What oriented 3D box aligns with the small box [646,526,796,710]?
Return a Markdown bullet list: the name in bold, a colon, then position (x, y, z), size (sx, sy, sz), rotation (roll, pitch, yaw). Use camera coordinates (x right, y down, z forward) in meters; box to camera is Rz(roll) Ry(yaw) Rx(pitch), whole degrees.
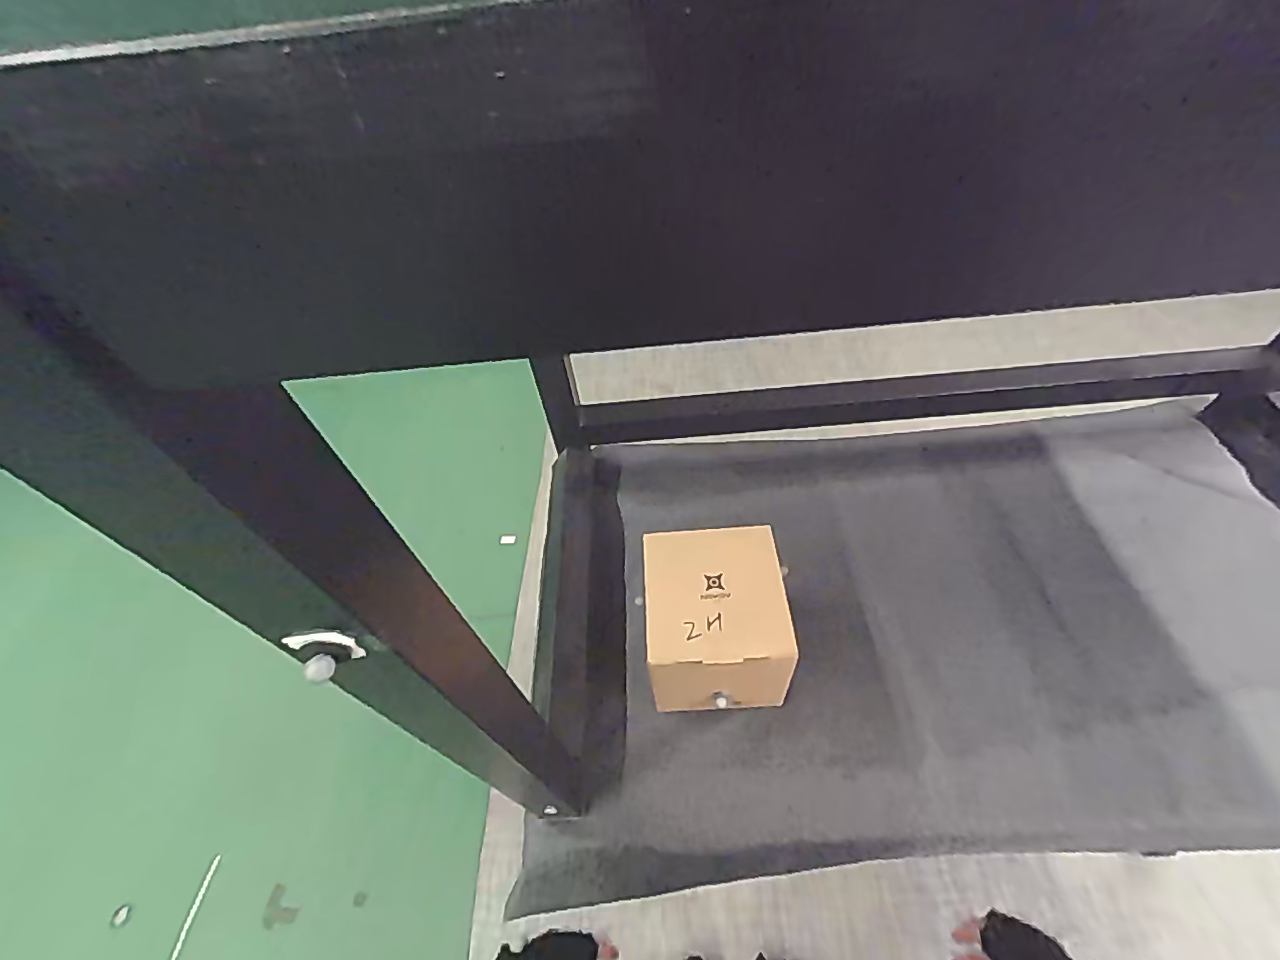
- **small box**: position (0.094, 0.181, 0.705), size (0.168, 0.176, 0.179), rotation (-4, 50, 3)
